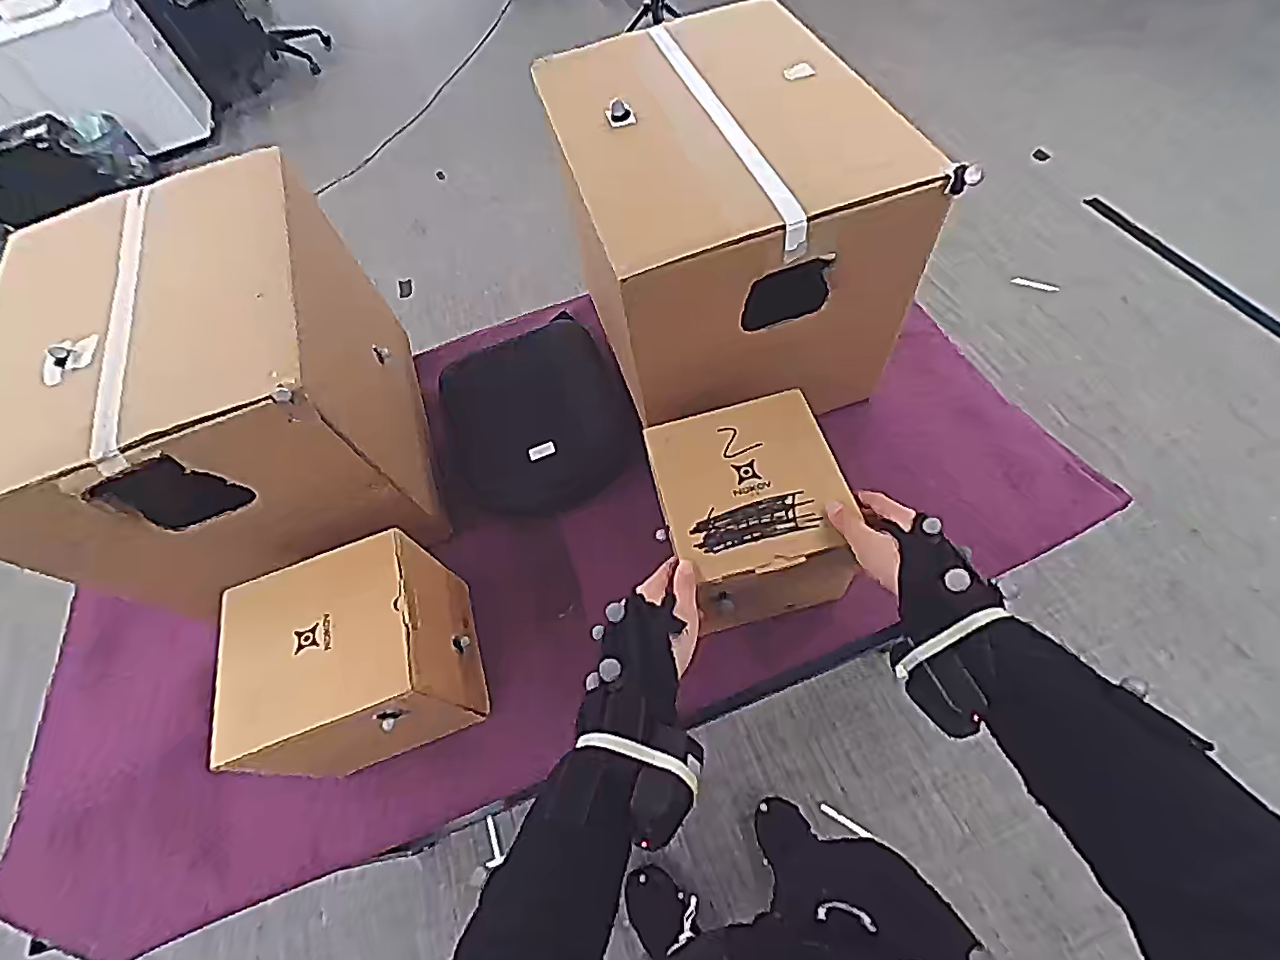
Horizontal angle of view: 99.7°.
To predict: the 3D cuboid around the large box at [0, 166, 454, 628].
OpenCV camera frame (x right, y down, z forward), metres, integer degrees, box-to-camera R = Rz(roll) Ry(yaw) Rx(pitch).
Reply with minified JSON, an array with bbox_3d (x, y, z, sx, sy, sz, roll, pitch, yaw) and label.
[{"bbox_3d":[-0.471,-0.091,0.665,0.320,0.320,0.408,-23,62,-4],"label":"large box"}]
